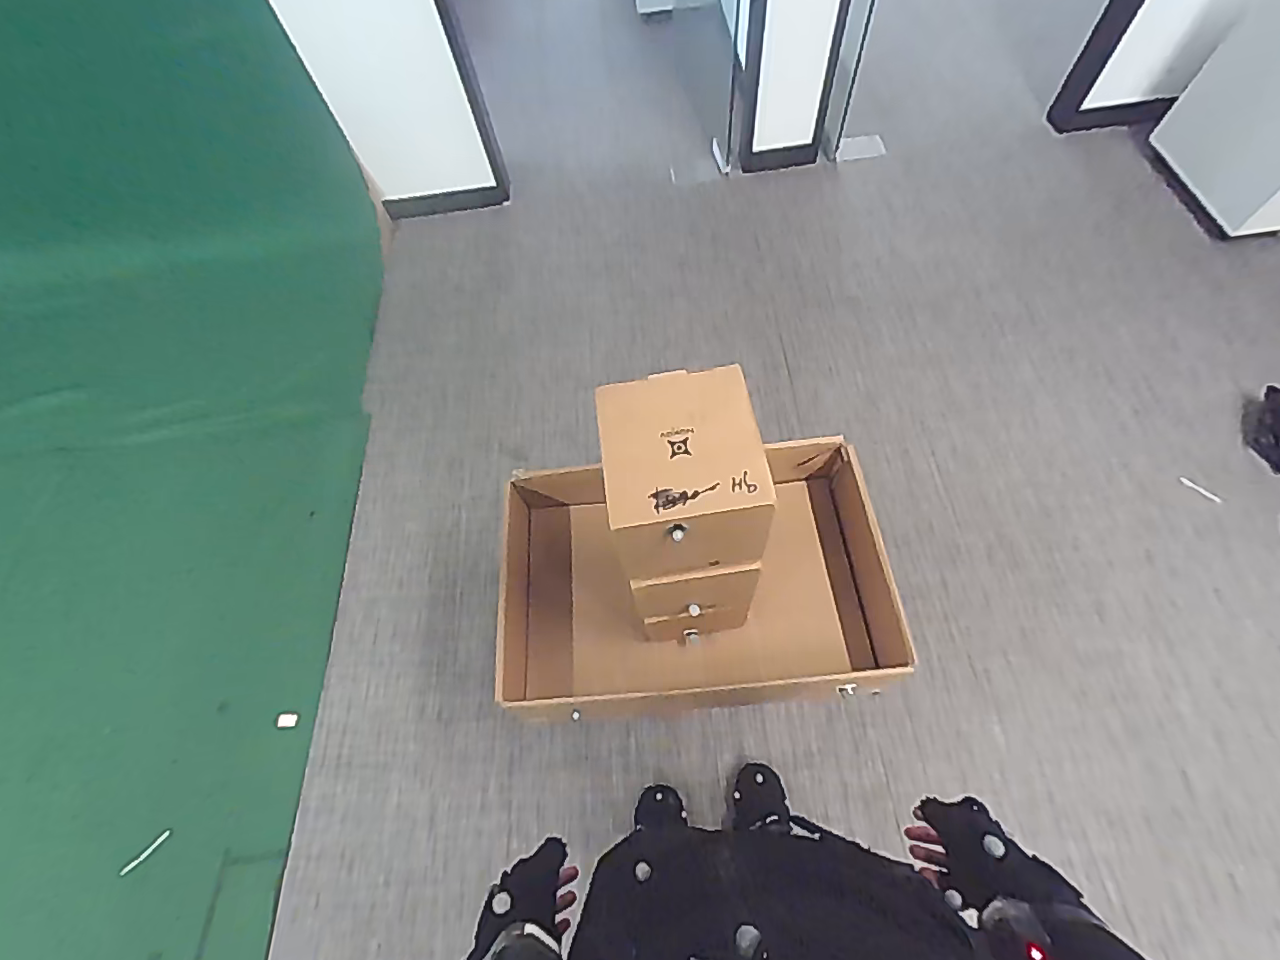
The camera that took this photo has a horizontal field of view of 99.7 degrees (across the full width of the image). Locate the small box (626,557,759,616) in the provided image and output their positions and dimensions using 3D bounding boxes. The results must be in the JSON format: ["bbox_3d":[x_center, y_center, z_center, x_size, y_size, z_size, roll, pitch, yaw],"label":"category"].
[{"bbox_3d":[0.065,0.081,0.774,0.168,0.176,0.179,-9,62,3],"label":"small box"}]

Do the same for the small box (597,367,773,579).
[{"bbox_3d":[0.048,-0.002,0.634,0.168,0.176,0.179,-9,61,3],"label":"small box"}]

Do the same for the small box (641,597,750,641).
[{"bbox_3d":[0.080,0.159,0.918,0.168,0.176,0.179,-10,63,1],"label":"small box"}]
